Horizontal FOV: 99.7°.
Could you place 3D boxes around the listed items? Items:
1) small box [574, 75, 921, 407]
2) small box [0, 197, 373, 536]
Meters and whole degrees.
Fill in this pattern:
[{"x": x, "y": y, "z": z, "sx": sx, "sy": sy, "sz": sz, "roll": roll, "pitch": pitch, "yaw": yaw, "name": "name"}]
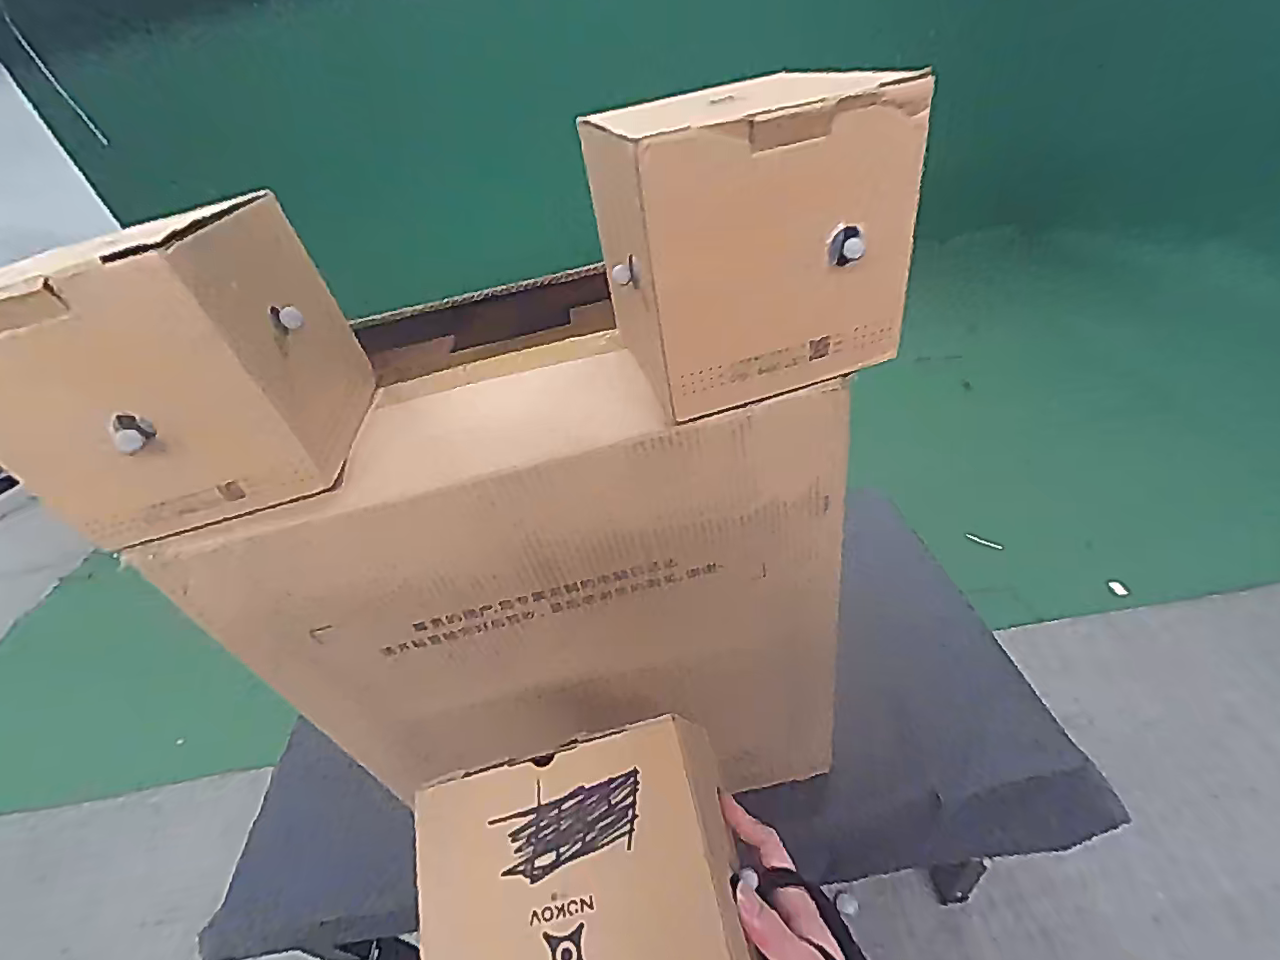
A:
[{"x": 0.063, "y": -0.167, "z": 0.386, "sx": 0.168, "sy": 0.176, "sz": 0.179, "roll": -16, "pitch": 38, "yaw": -7, "name": "small box"}, {"x": -0.325, "y": -0.079, "z": 0.396, "sx": 0.168, "sy": 0.176, "sz": 0.179, "roll": -17, "pitch": 39, "yaw": -2, "name": "small box"}]
